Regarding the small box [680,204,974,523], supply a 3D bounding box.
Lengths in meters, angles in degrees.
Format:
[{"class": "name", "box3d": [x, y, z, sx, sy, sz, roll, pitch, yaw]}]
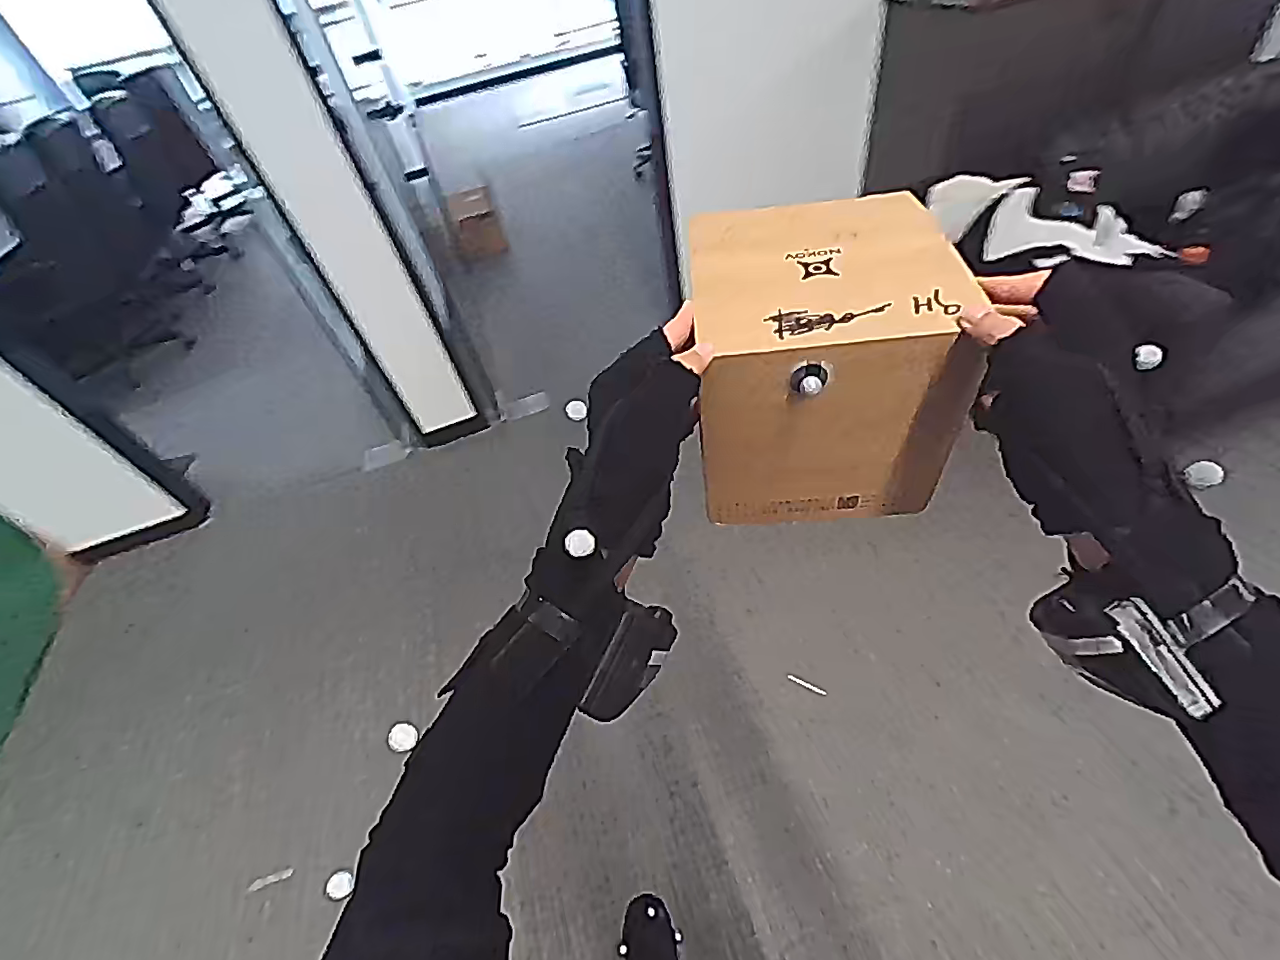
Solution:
[{"class": "small box", "box3d": [0.118, -0.087, 0.422, 0.168, 0.176, 0.179, -4, 49, 7]}]
